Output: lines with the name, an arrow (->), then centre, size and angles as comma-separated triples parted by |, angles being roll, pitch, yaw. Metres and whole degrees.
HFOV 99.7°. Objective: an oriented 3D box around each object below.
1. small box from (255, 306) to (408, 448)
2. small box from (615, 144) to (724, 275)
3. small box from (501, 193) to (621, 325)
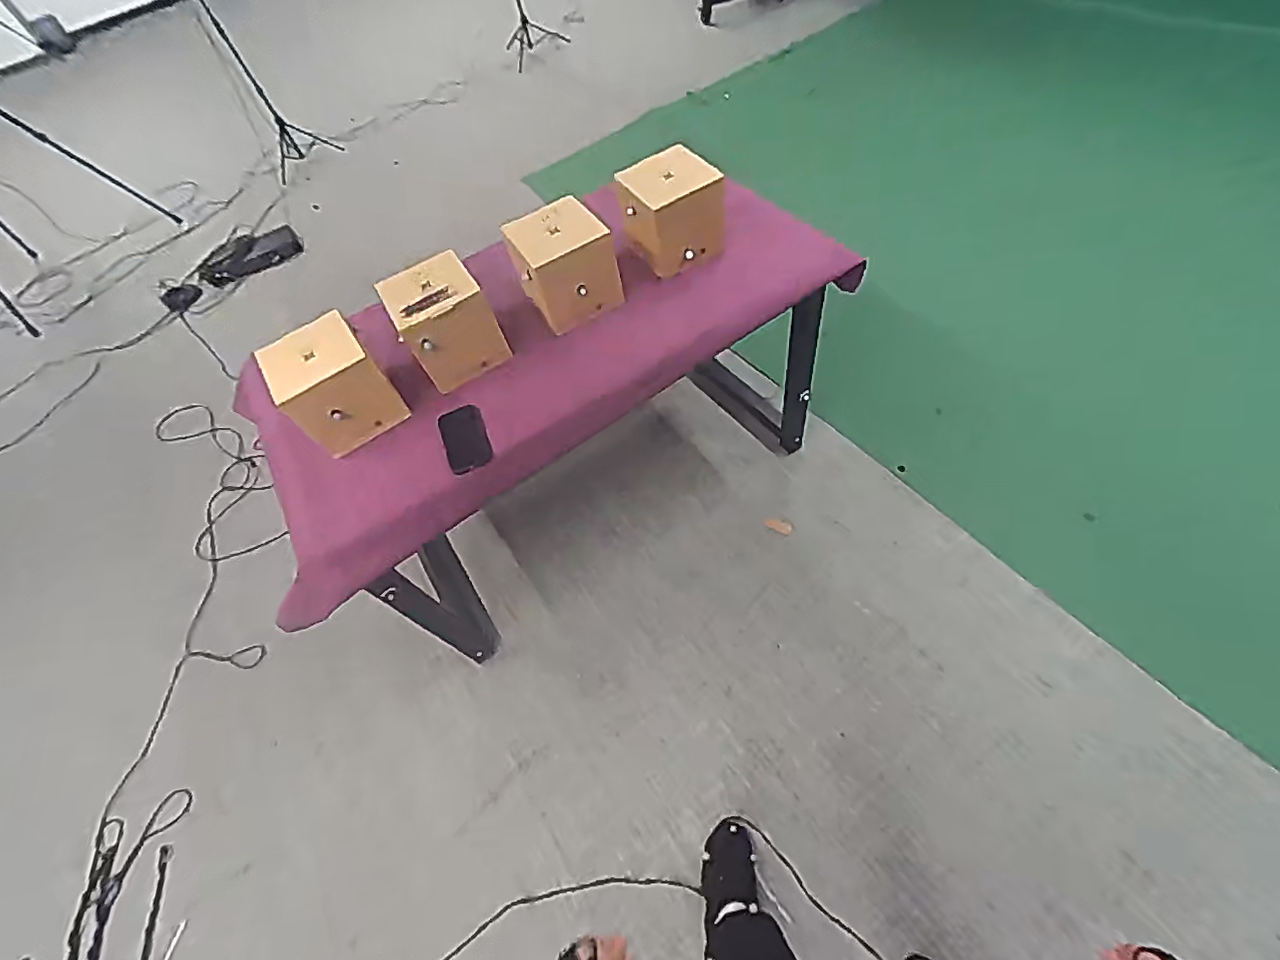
small box -> -0.572, -0.184, 1.018 | 0.168, 0.176, 0.179 | -35, 58, -13
small box -> 0.066, -0.575, 1.157 | 0.168, 0.176, 0.179 | -29, 57, -8
small box -> -0.156, -0.446, 1.112 | 0.168, 0.176, 0.179 | -30, 57, -10
